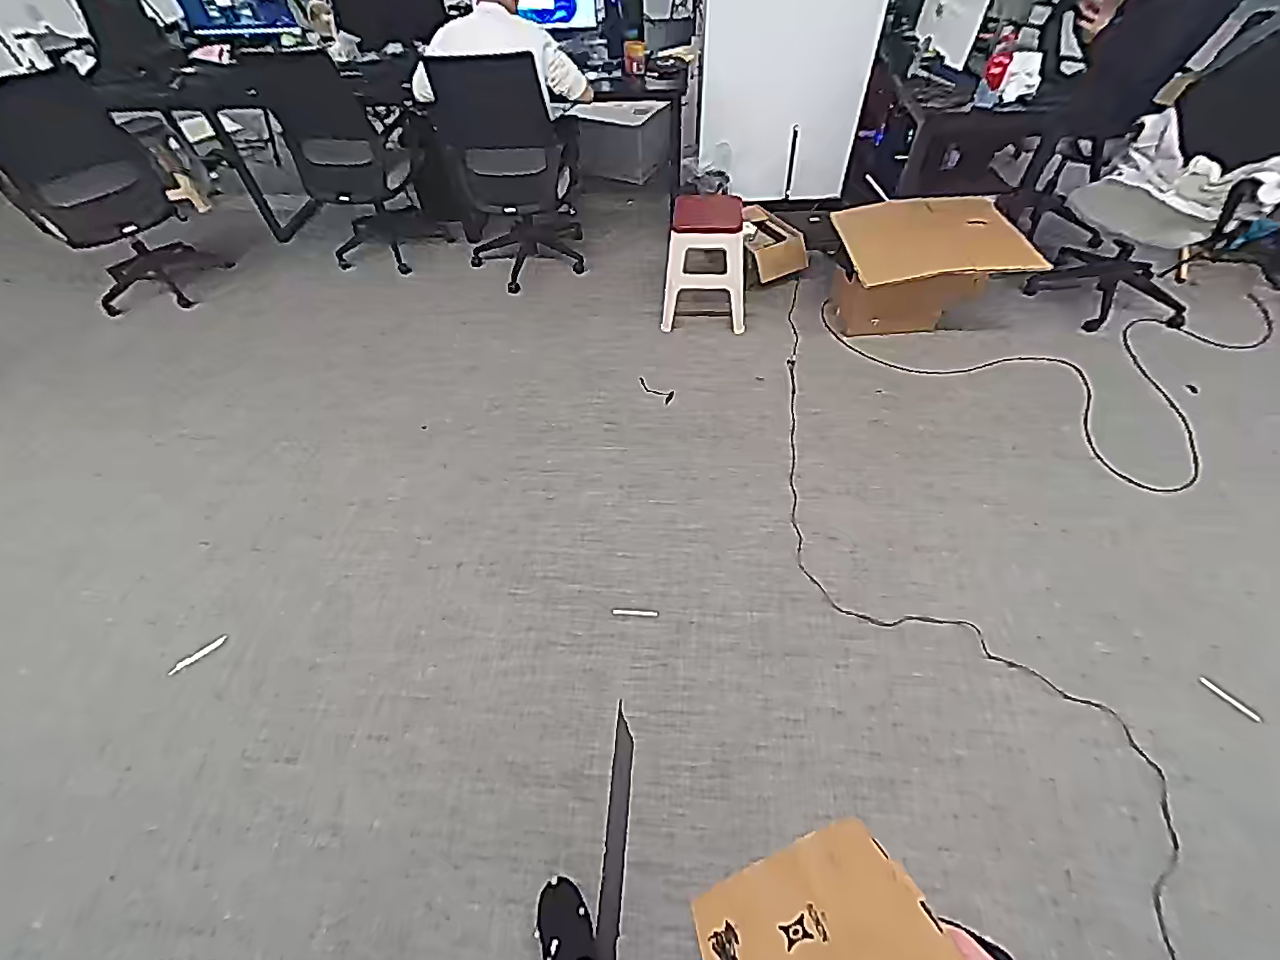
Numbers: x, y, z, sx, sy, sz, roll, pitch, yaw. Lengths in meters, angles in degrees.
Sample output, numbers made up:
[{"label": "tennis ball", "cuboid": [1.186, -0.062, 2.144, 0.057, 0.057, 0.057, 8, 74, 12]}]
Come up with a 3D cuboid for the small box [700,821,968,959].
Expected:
[{"label": "small box", "cuboid": [0.171, 0.434, 0.436, 0.179, 0.168, 0.176, -24, 91, -4]}]
